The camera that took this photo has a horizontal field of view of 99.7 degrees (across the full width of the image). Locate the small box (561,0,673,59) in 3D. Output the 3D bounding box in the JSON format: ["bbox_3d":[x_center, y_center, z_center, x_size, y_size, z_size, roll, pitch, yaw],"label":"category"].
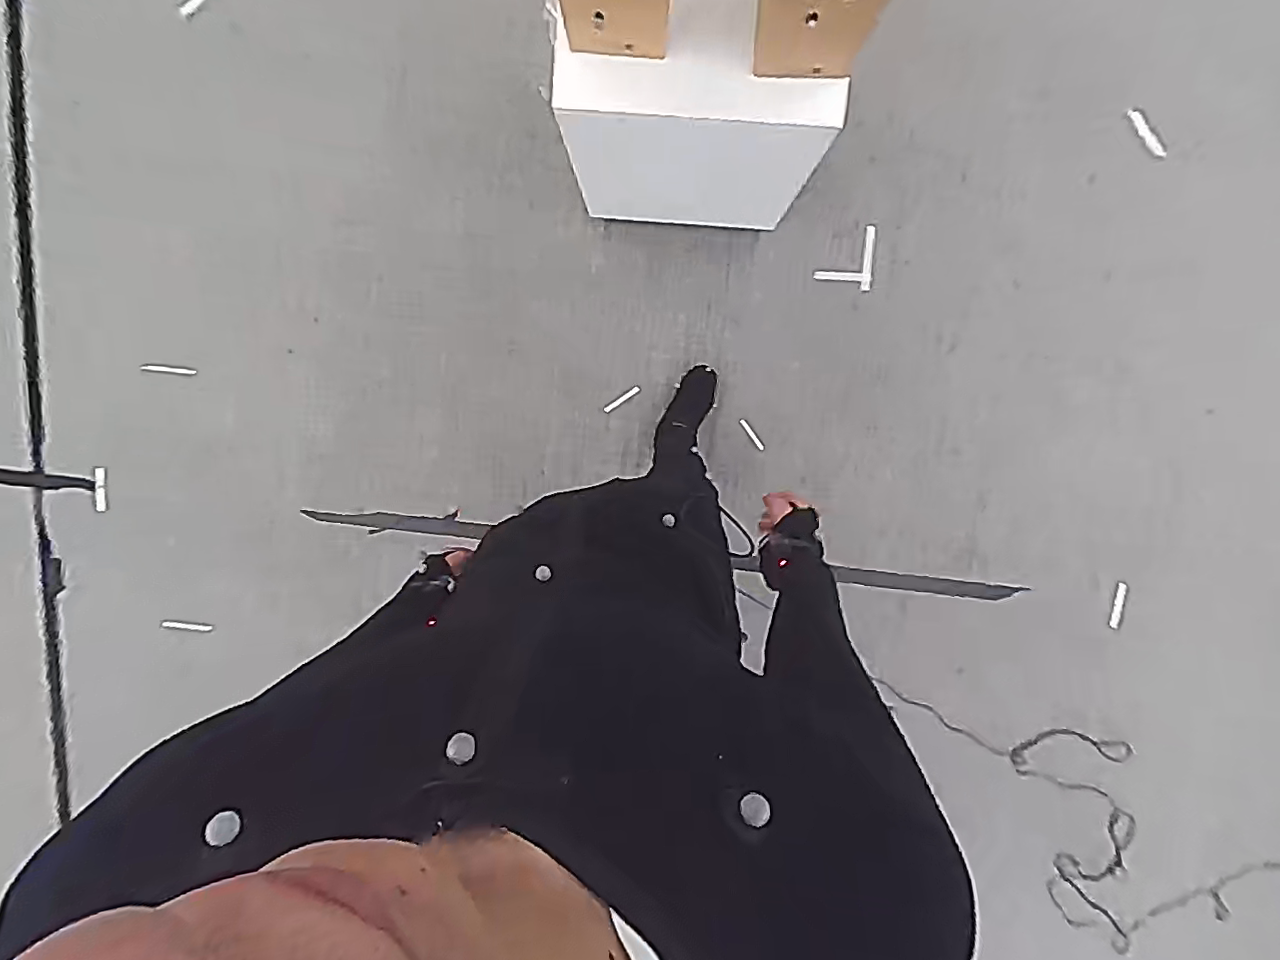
[{"bbox_3d":[-0.029,-0.796,0.835,0.168,0.176,0.179,6,97,1],"label":"small box"}]

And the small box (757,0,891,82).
[{"bbox_3d":[0.277,-0.756,0.827,0.168,0.176,0.179,3,97,3],"label":"small box"}]

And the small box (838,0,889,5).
[{"bbox_3d":[0.270,-0.734,0.663,0.168,0.176,0.179,4,98,2],"label":"small box"}]
